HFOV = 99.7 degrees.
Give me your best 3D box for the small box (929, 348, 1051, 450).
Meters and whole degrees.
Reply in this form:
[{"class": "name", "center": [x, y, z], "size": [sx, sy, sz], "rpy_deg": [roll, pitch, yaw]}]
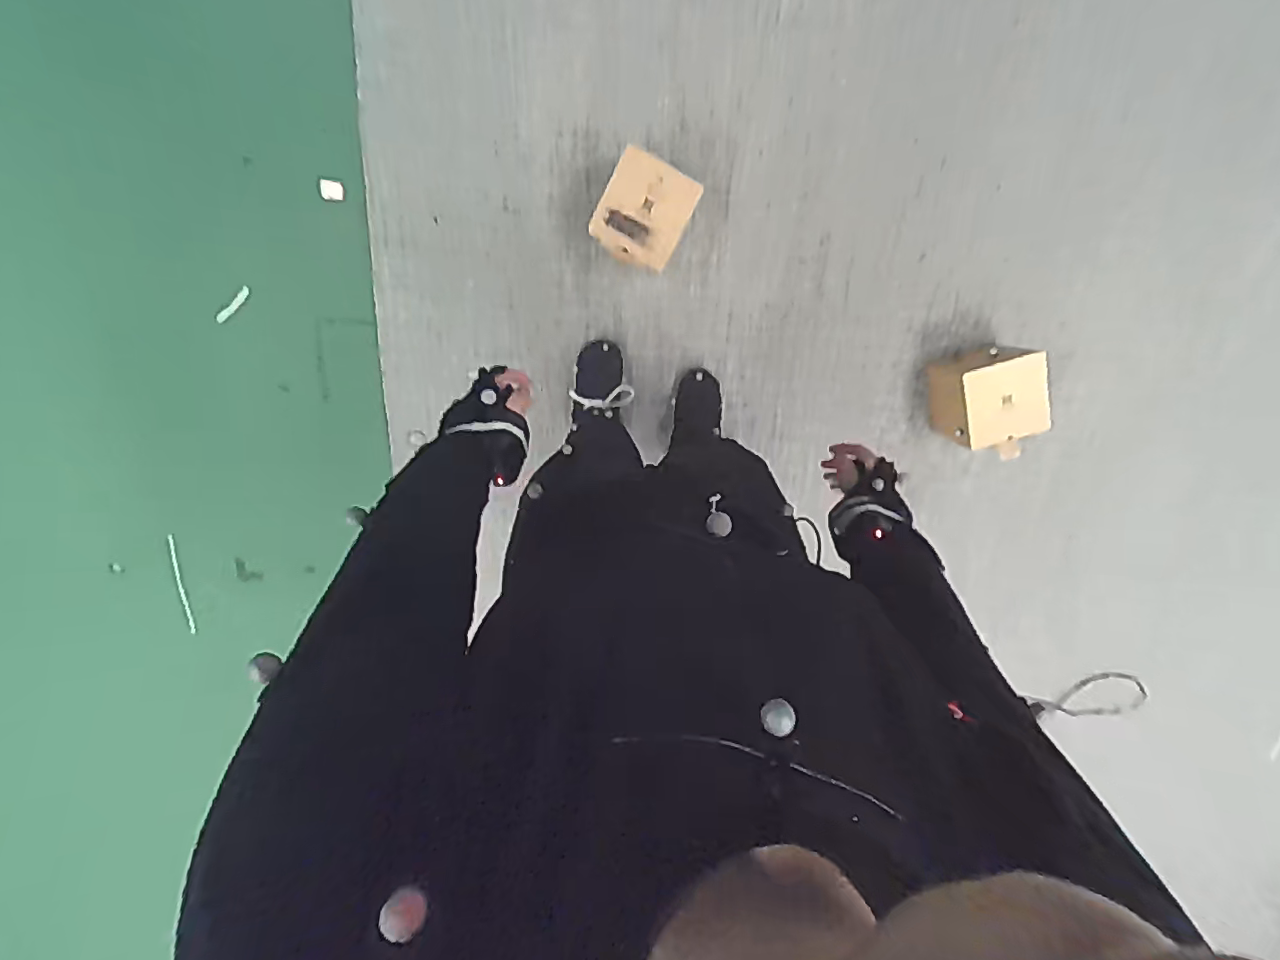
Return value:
[{"class": "small box", "center": [0.768, -0.188, 1.202], "size": [0.168, 0.176, 0.179], "rpy_deg": [-16, 108, 8]}]
